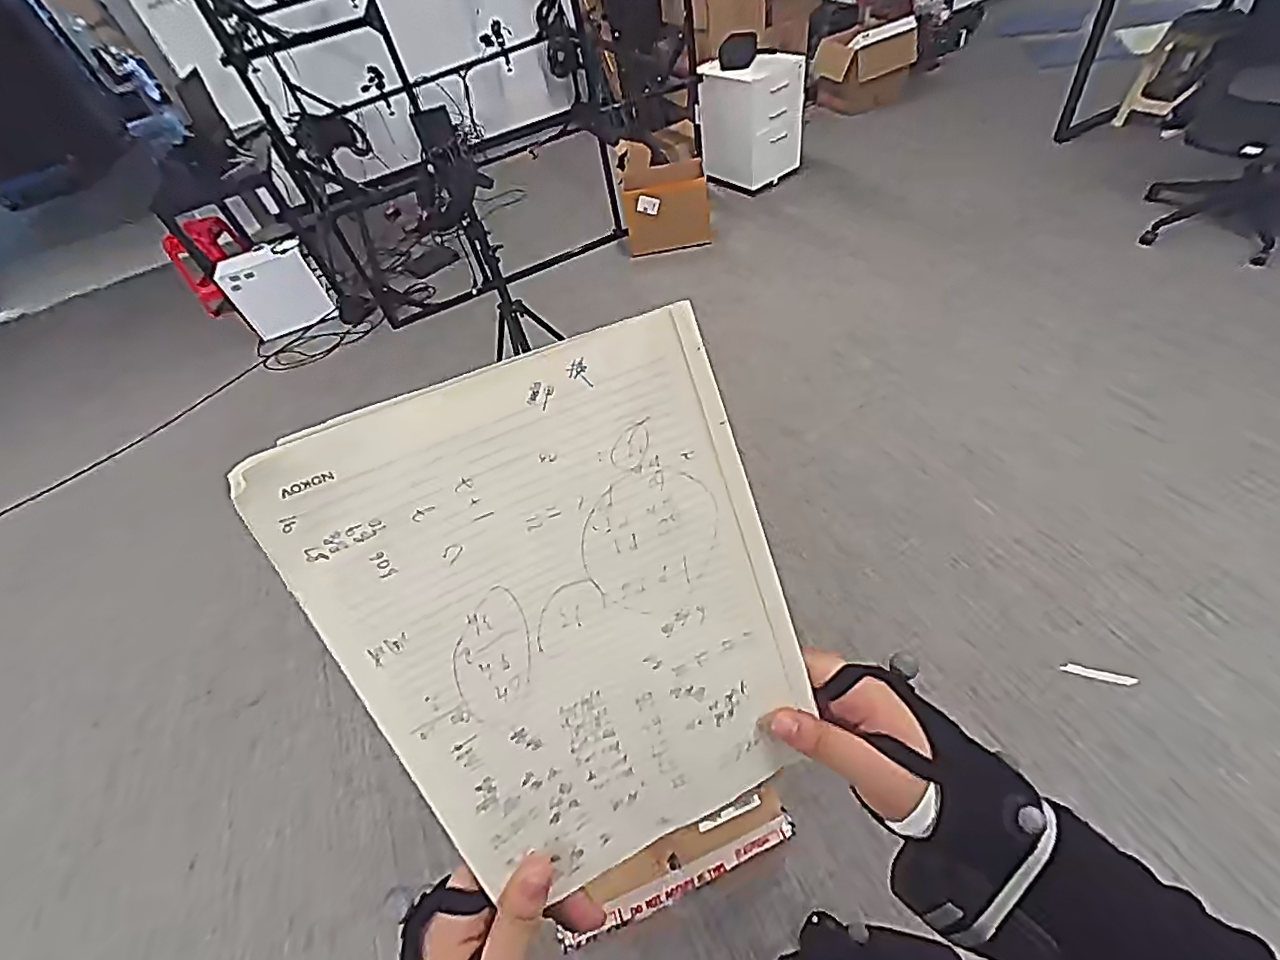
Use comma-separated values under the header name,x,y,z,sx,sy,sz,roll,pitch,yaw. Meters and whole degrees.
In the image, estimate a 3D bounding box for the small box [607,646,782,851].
name,x,y,z,sx,sy,sz,roll,pitch,yaw
small box,0.066,0.356,0.713,0.168,0.176,0.179,-19,51,-7

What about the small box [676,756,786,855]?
name,x,y,z,sx,sy,sz,roll,pitch,yaw
small box,0.103,0.452,0.843,0.179,0.176,0.168,-23,50,-9
